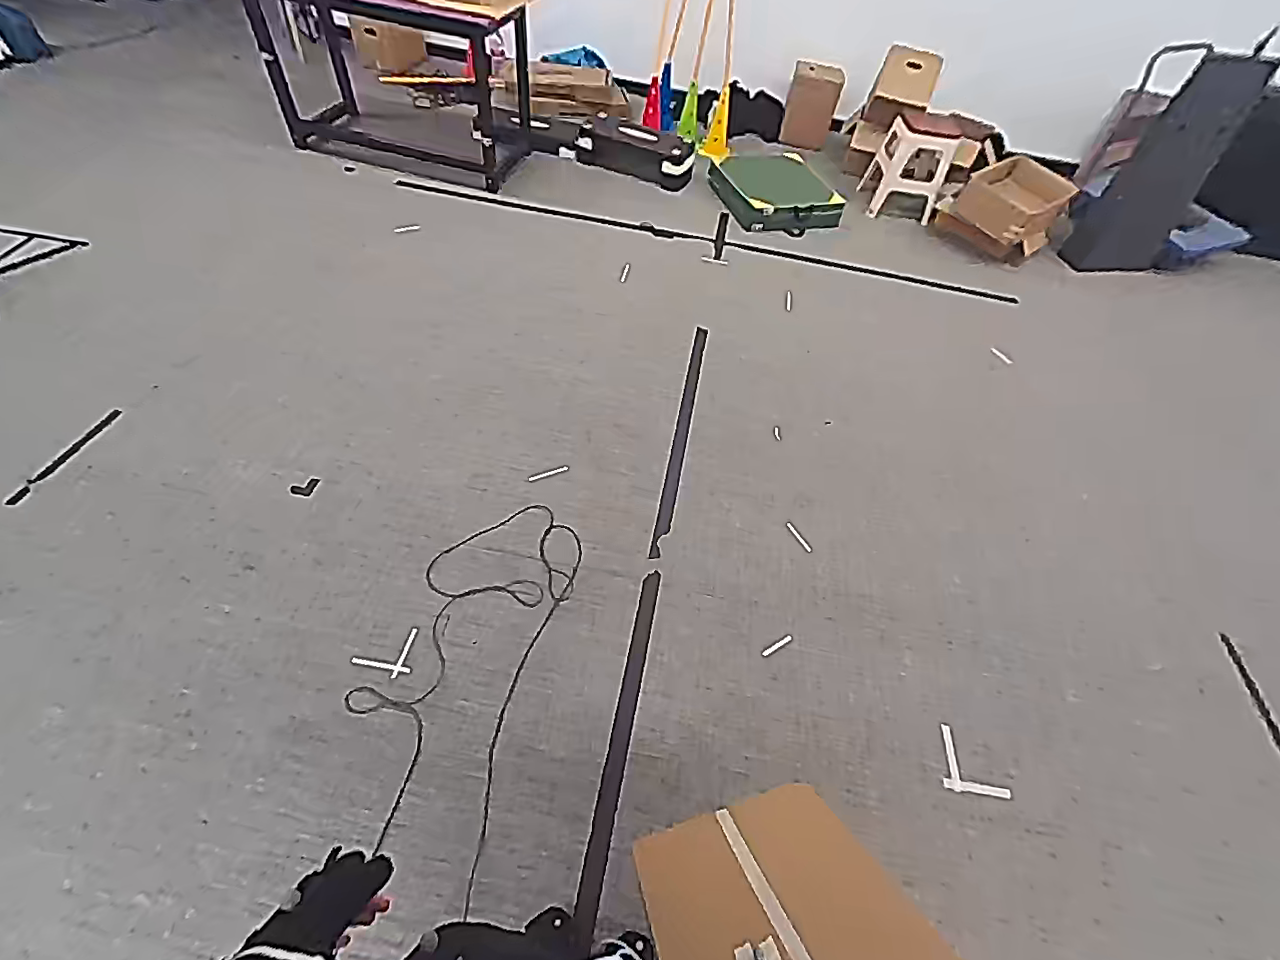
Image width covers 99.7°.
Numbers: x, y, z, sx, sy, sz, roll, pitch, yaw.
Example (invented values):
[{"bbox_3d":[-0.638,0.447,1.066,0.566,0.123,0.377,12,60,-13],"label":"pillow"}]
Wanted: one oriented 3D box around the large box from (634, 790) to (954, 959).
[{"bbox_3d":[0.207,0.707,0.708,0.320,0.408,0.320,-14,94,-11],"label":"large box"}]
